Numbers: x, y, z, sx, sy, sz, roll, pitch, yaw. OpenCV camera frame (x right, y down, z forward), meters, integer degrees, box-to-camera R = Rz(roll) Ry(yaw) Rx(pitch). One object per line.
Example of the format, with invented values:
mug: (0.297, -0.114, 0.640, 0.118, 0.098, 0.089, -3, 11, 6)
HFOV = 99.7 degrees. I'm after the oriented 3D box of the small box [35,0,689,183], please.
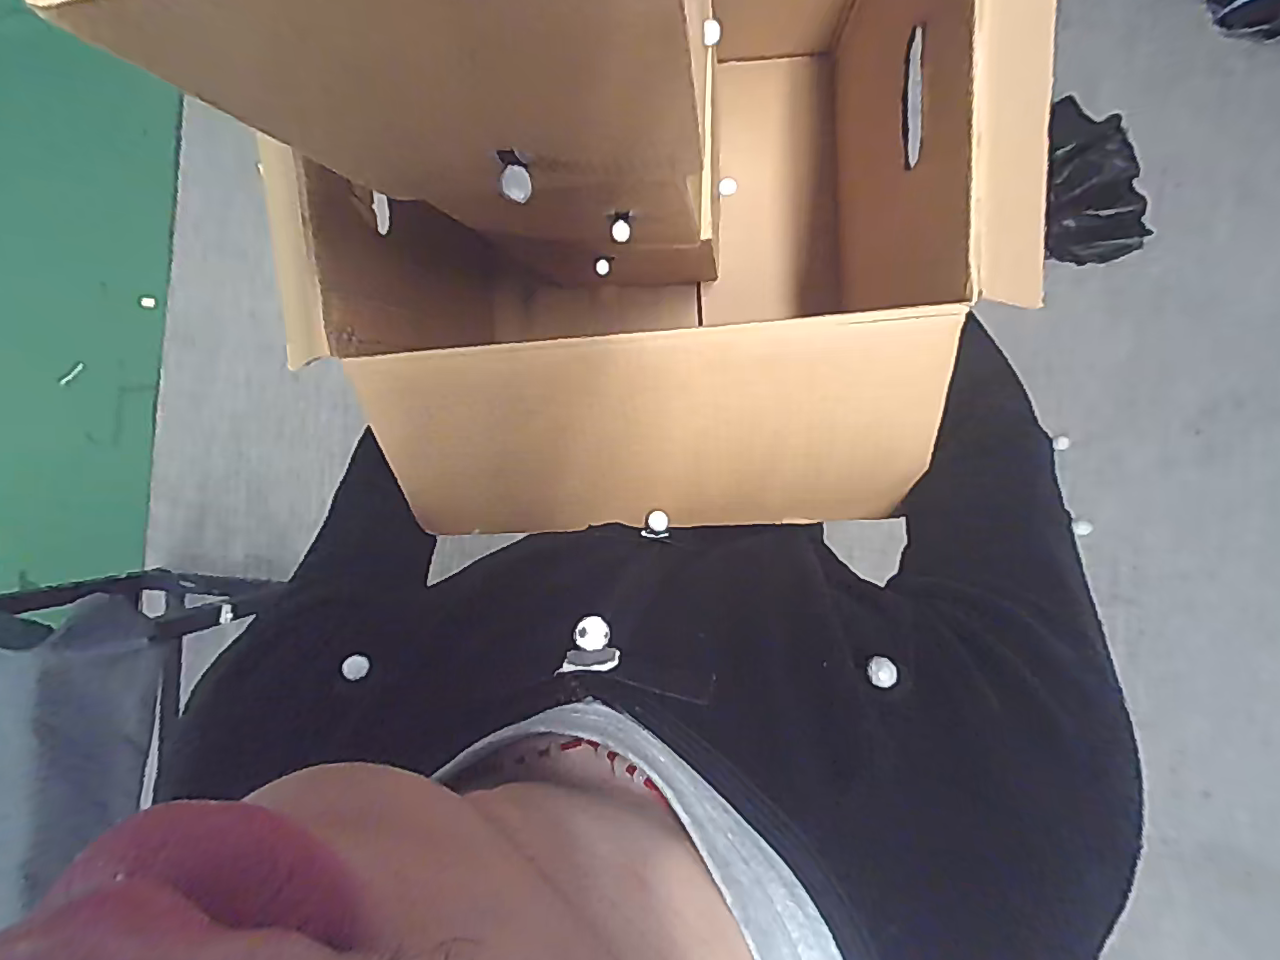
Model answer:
small box: (-0.072, -0.220, 0.184, 0.179, 0.176, 0.168, 0, 101, 8)
